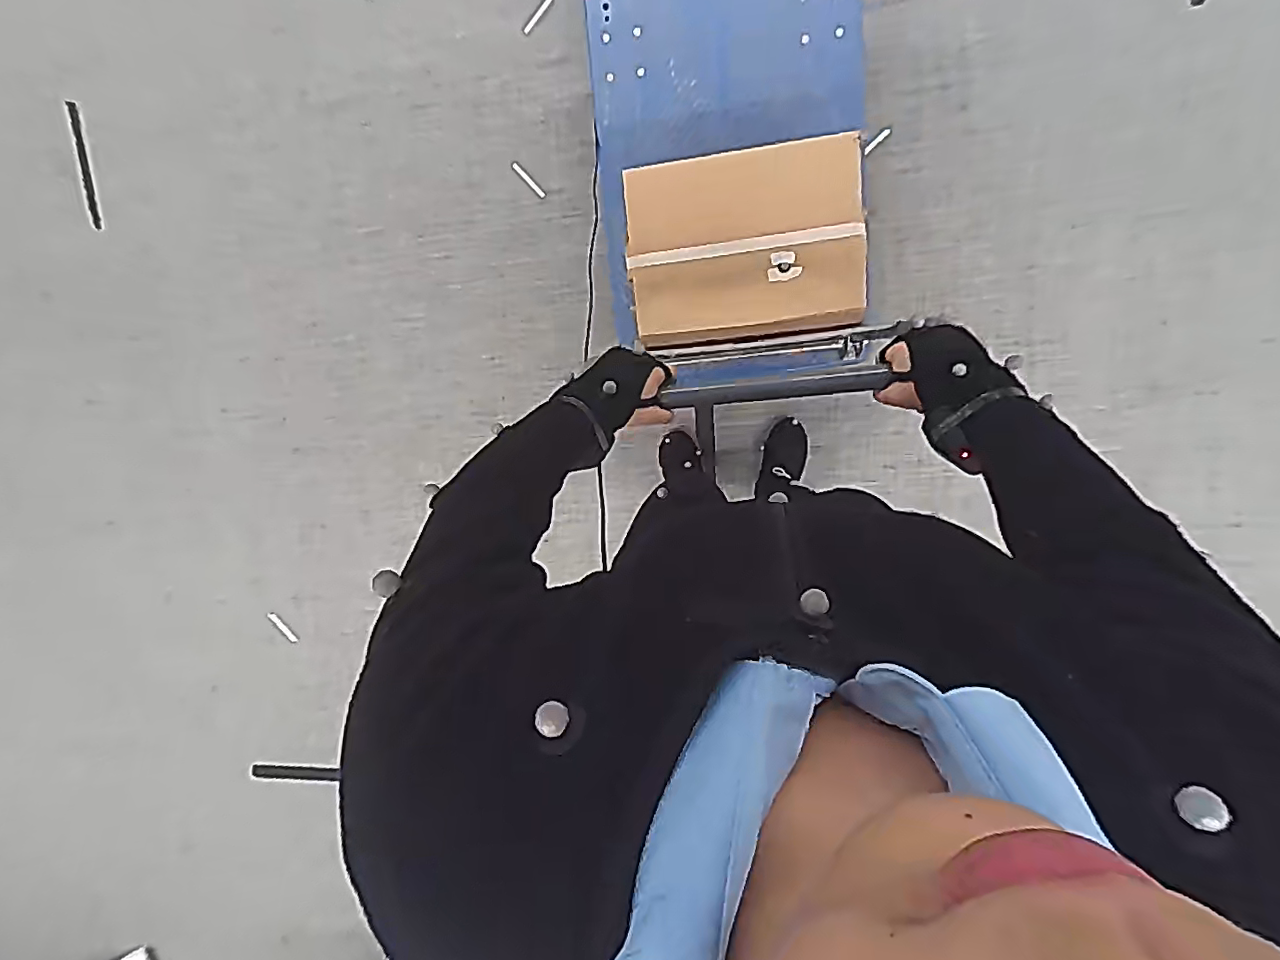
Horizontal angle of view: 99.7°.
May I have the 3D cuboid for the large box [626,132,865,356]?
[{"bbox_3d":[0.204,-0.445,1.112,0.408,0.320,0.320,-5,99,8],"label":"large box"}]
